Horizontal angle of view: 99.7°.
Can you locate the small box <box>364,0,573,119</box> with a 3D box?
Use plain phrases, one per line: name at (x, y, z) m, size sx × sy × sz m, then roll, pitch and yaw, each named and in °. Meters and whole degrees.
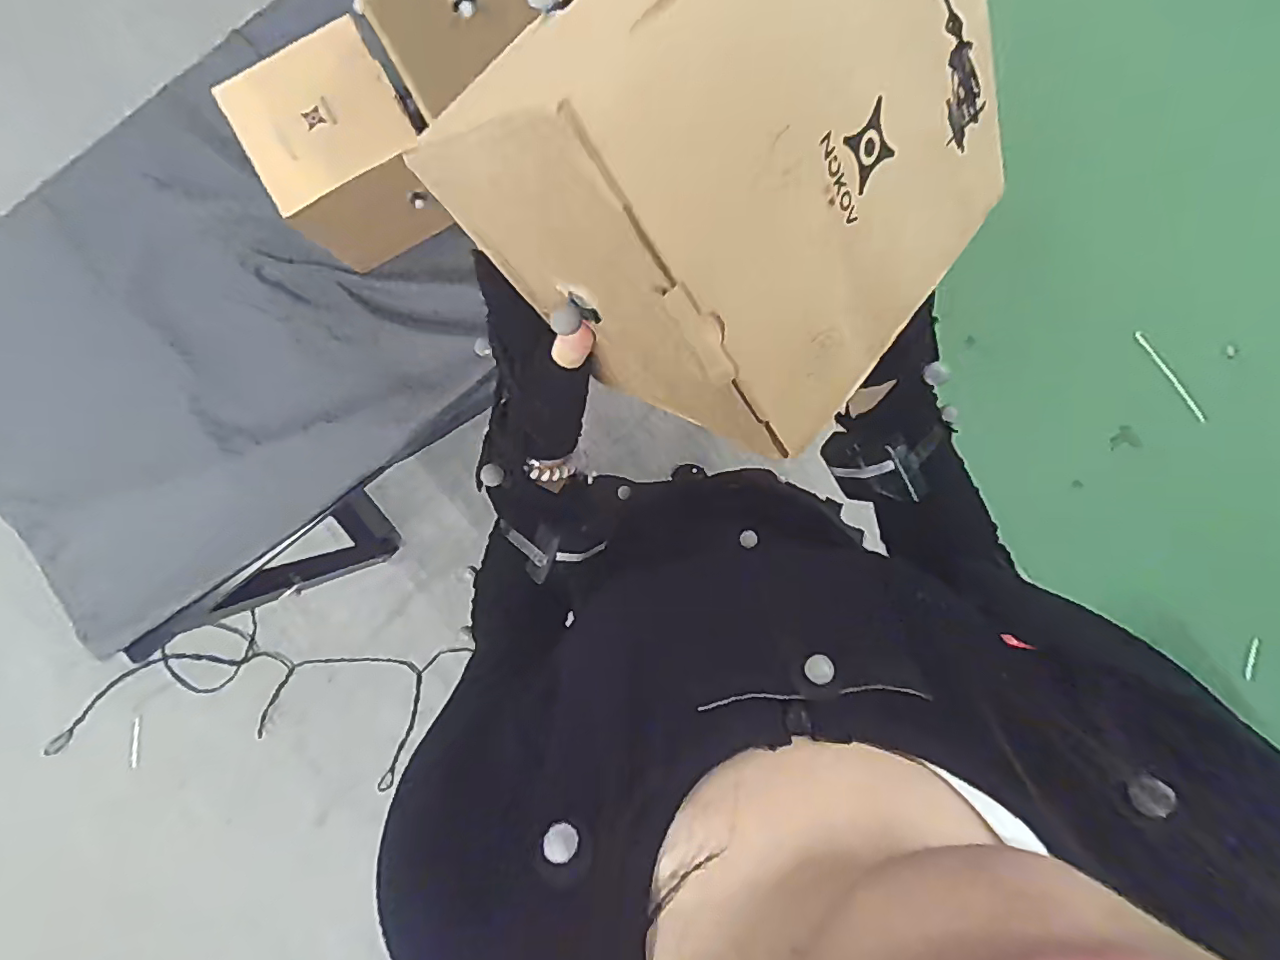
small box at (-0.180, -0.494, 0.511) m, size 0.179 × 0.176 × 0.168 m, roll -28°, pitch 91°, yaw -1°
